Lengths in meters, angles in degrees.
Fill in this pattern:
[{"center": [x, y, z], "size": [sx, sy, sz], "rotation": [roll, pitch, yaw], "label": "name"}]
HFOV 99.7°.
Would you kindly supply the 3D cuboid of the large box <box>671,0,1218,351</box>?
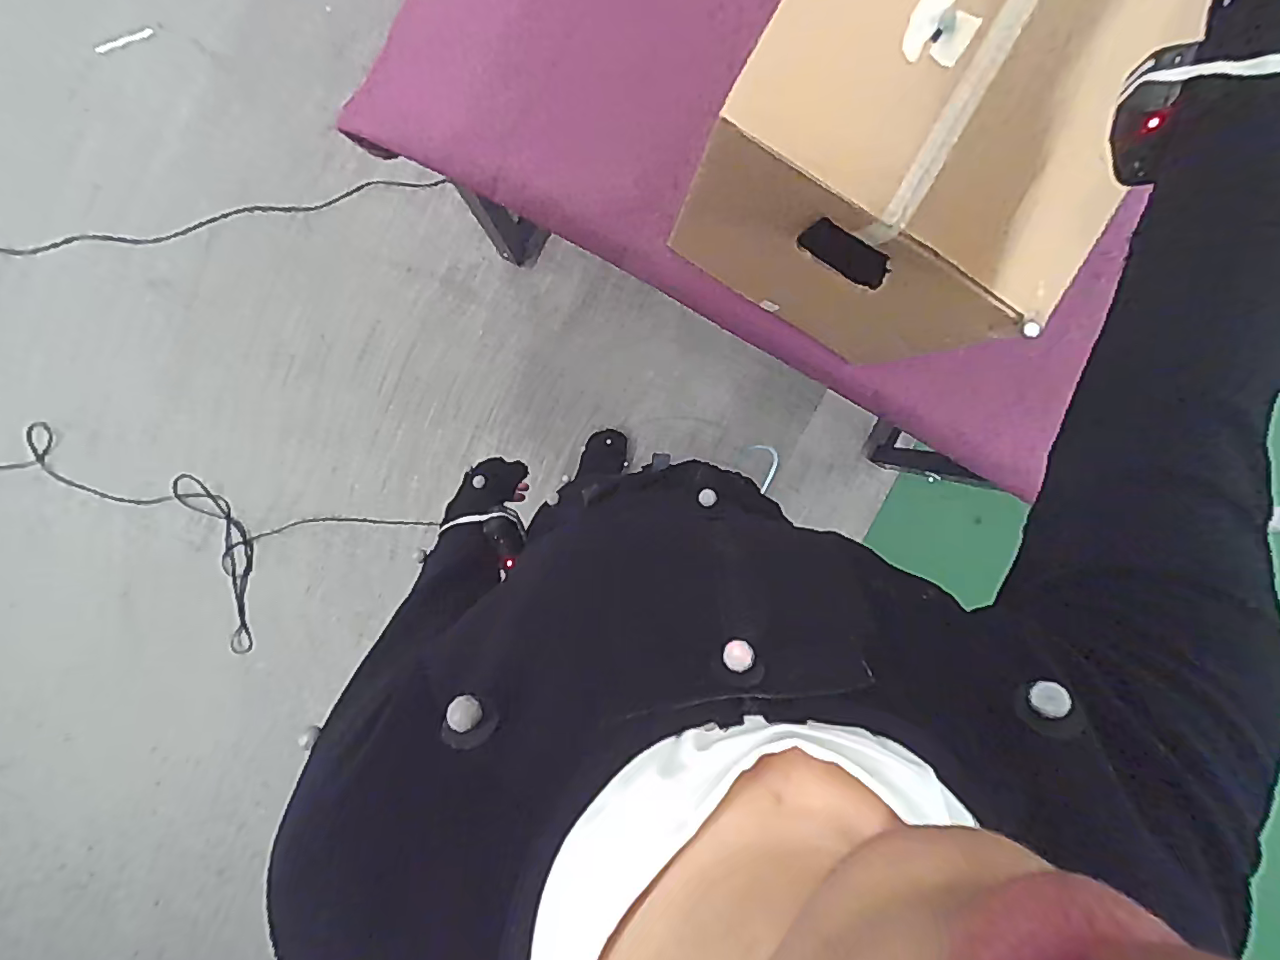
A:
[{"center": [0.277, -0.399, 0.572], "size": [0.320, 0.320, 0.408], "rotation": [30, 95, -7], "label": "large box"}]
